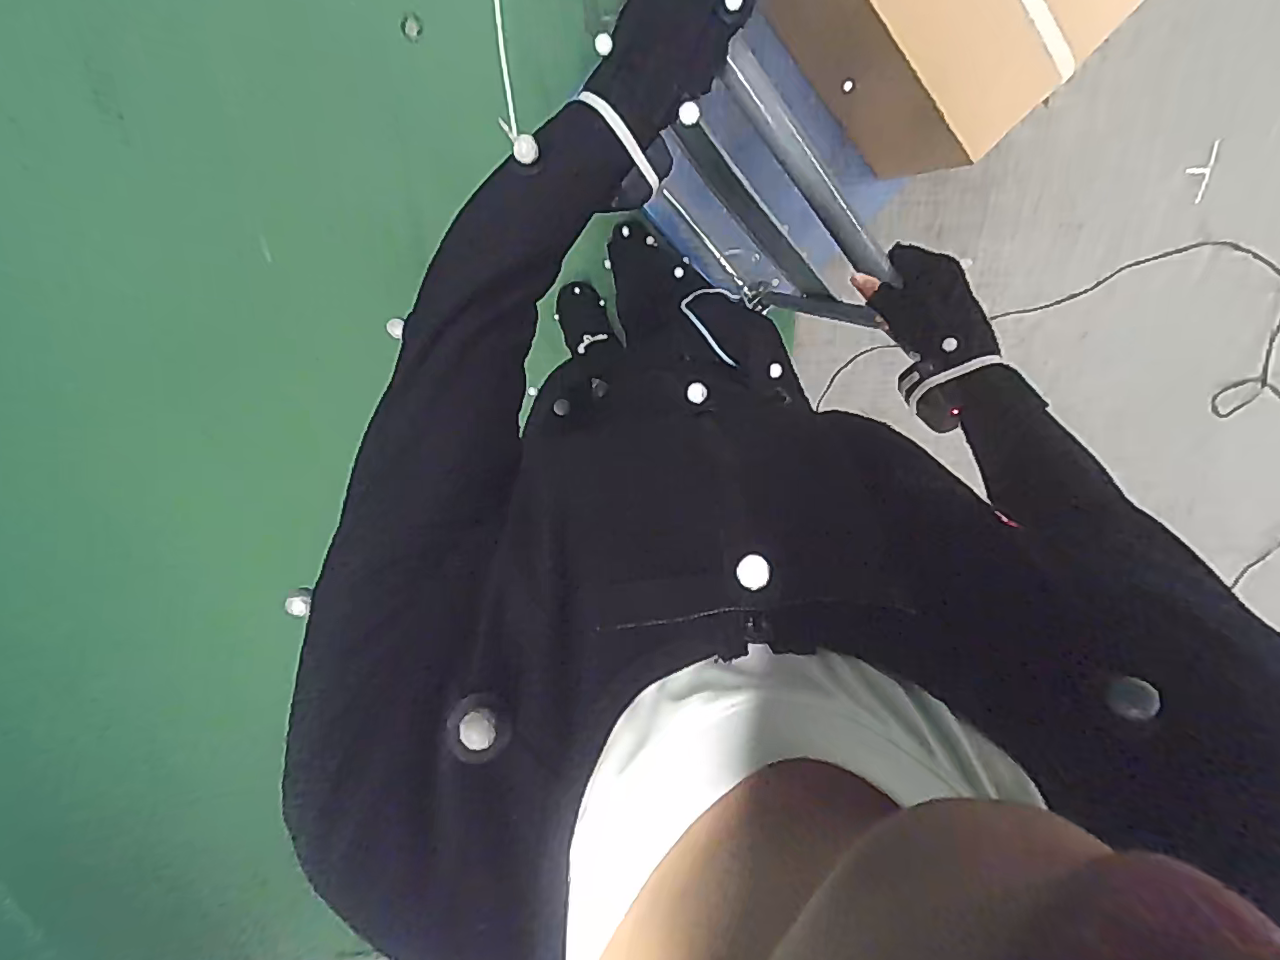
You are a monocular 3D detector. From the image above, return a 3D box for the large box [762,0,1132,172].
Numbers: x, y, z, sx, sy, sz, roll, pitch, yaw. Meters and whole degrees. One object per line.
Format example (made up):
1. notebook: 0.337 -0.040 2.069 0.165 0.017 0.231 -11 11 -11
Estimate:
1. large box: 0.468 -0.780 0.865 0.408 0.320 0.320 40 106 -18
